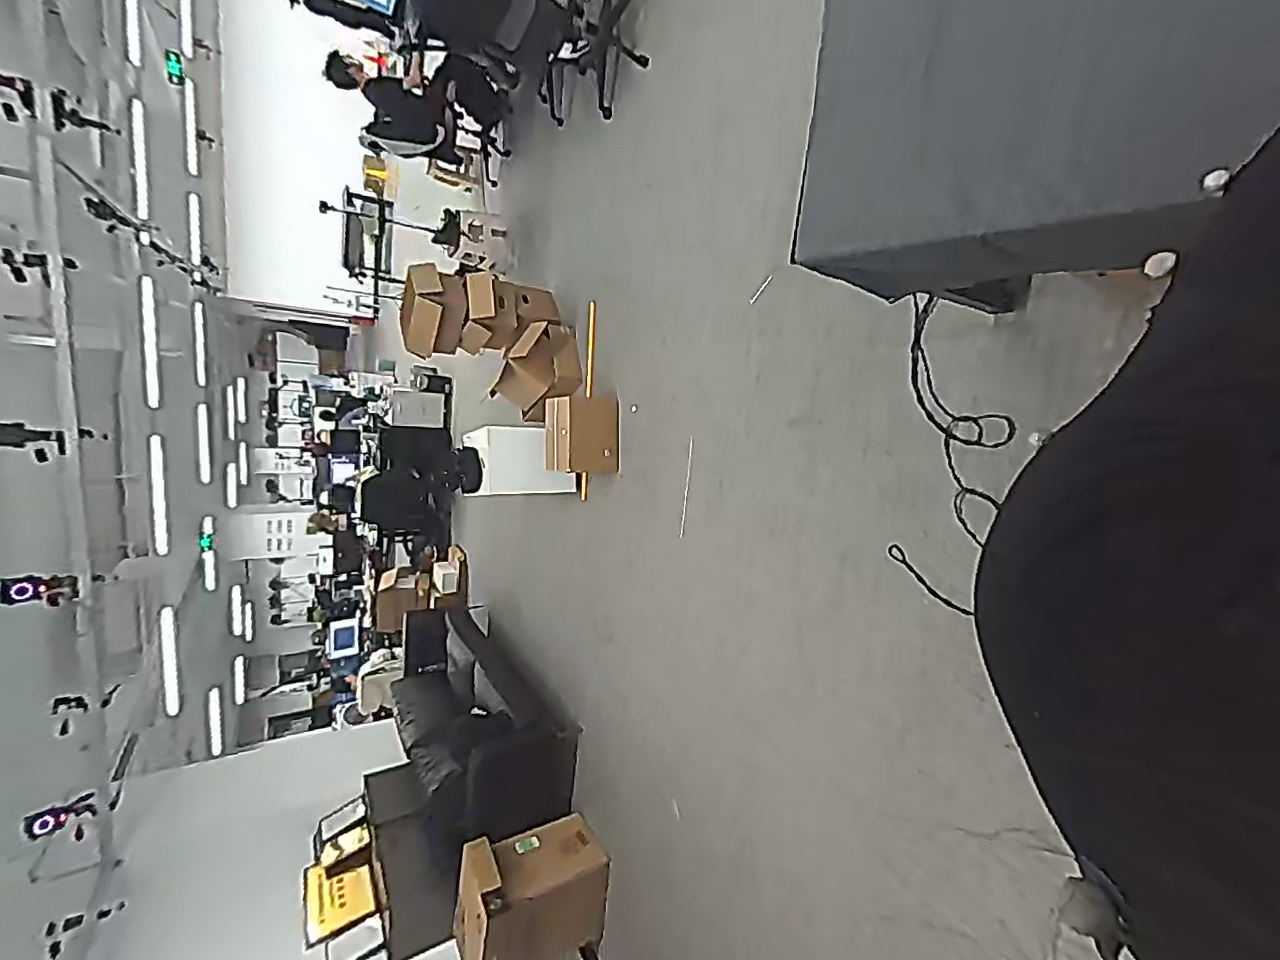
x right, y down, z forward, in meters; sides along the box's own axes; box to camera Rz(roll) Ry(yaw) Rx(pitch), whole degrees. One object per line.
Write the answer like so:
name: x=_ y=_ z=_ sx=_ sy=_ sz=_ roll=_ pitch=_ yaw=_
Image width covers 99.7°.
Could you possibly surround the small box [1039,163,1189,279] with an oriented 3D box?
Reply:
small box: x=0.988 y=-0.531 z=1.126 sx=0.168 sy=0.176 sz=0.179 roll=34 pitch=118 yaw=53
